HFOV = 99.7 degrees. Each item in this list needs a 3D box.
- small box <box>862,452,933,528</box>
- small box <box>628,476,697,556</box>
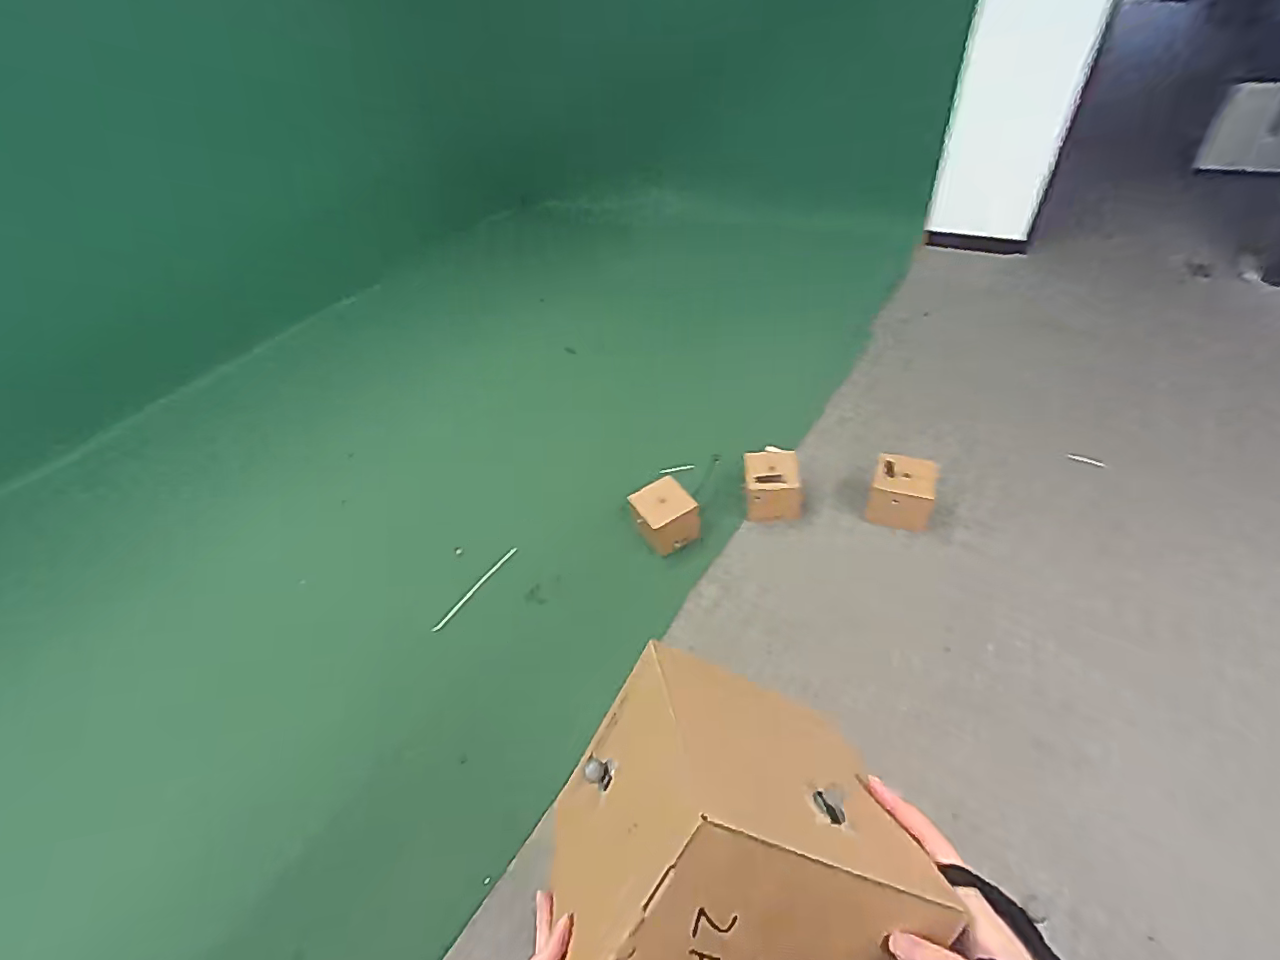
[{"bbox_3d":[0.836,0.035,1.766,0.179,0.176,0.168,12,51,21],"label":"small box"},{"bbox_3d":[0.078,0.125,1.836,0.168,0.176,0.179,-29,48,-15],"label":"small box"}]
